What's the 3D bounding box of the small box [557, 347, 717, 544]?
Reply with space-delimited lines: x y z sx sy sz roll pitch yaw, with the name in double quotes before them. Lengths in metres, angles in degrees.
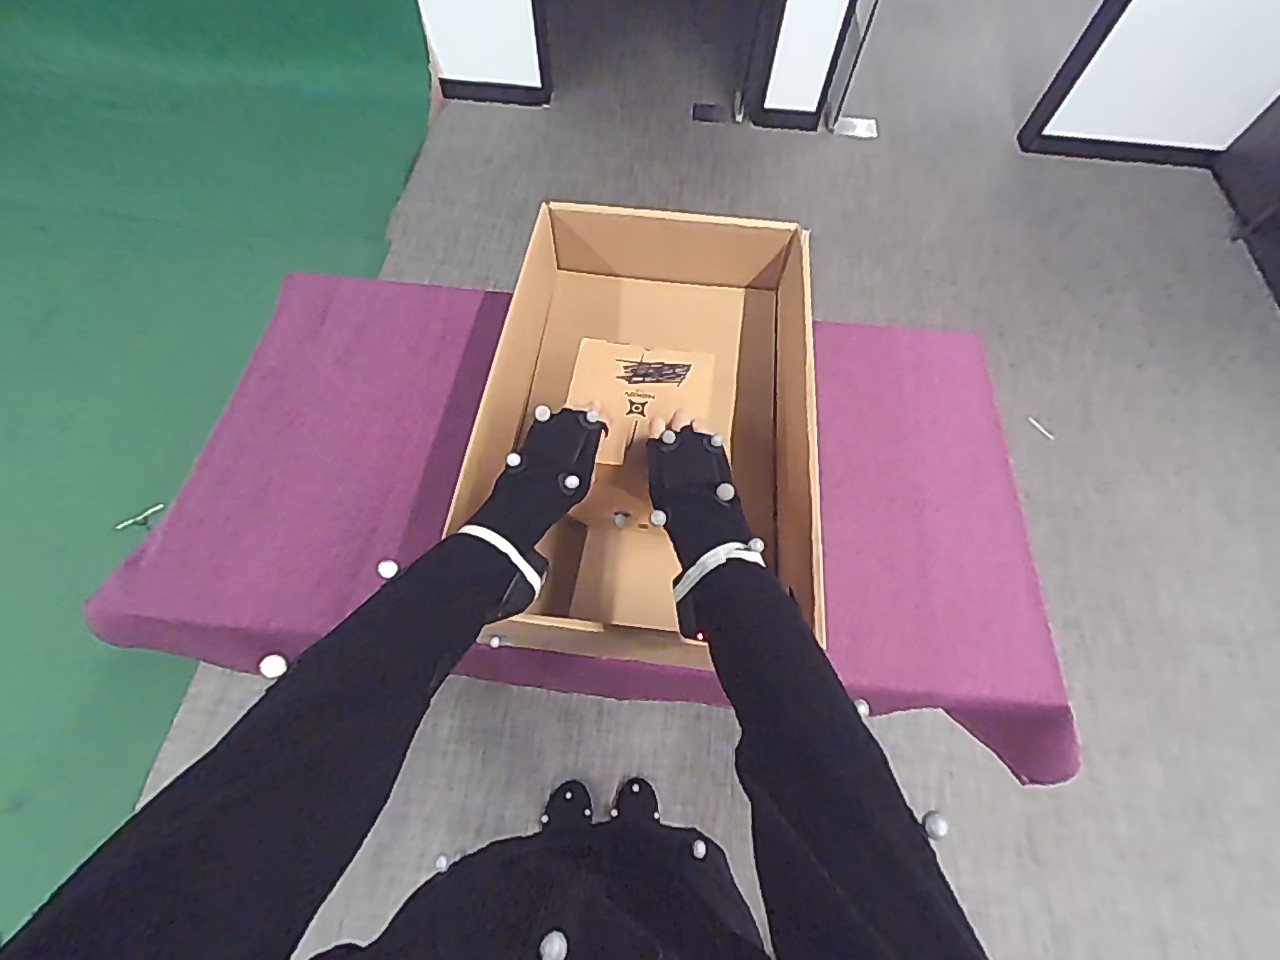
"small box" -0.002 -0.038 0.687 0.168 0.176 0.179 7 61 2
